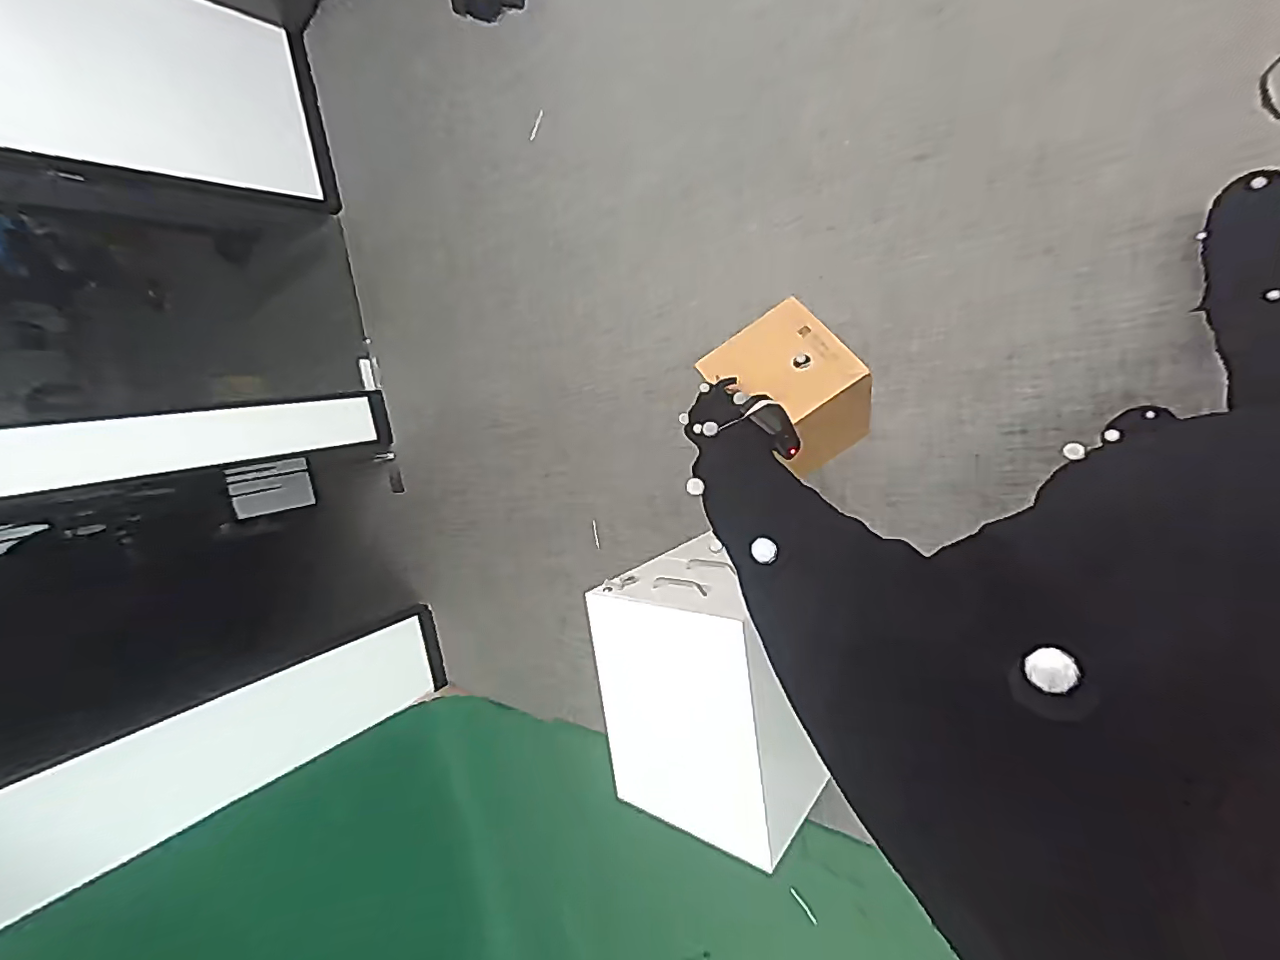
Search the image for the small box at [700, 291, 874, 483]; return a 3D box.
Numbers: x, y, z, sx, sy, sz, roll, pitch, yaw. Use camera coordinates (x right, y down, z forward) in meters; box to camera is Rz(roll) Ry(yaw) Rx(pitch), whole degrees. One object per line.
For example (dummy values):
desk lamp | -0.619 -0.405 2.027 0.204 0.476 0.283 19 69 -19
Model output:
small box | 0.215 -0.130 0.781 0.176 0.179 0.168 -34 60 5
